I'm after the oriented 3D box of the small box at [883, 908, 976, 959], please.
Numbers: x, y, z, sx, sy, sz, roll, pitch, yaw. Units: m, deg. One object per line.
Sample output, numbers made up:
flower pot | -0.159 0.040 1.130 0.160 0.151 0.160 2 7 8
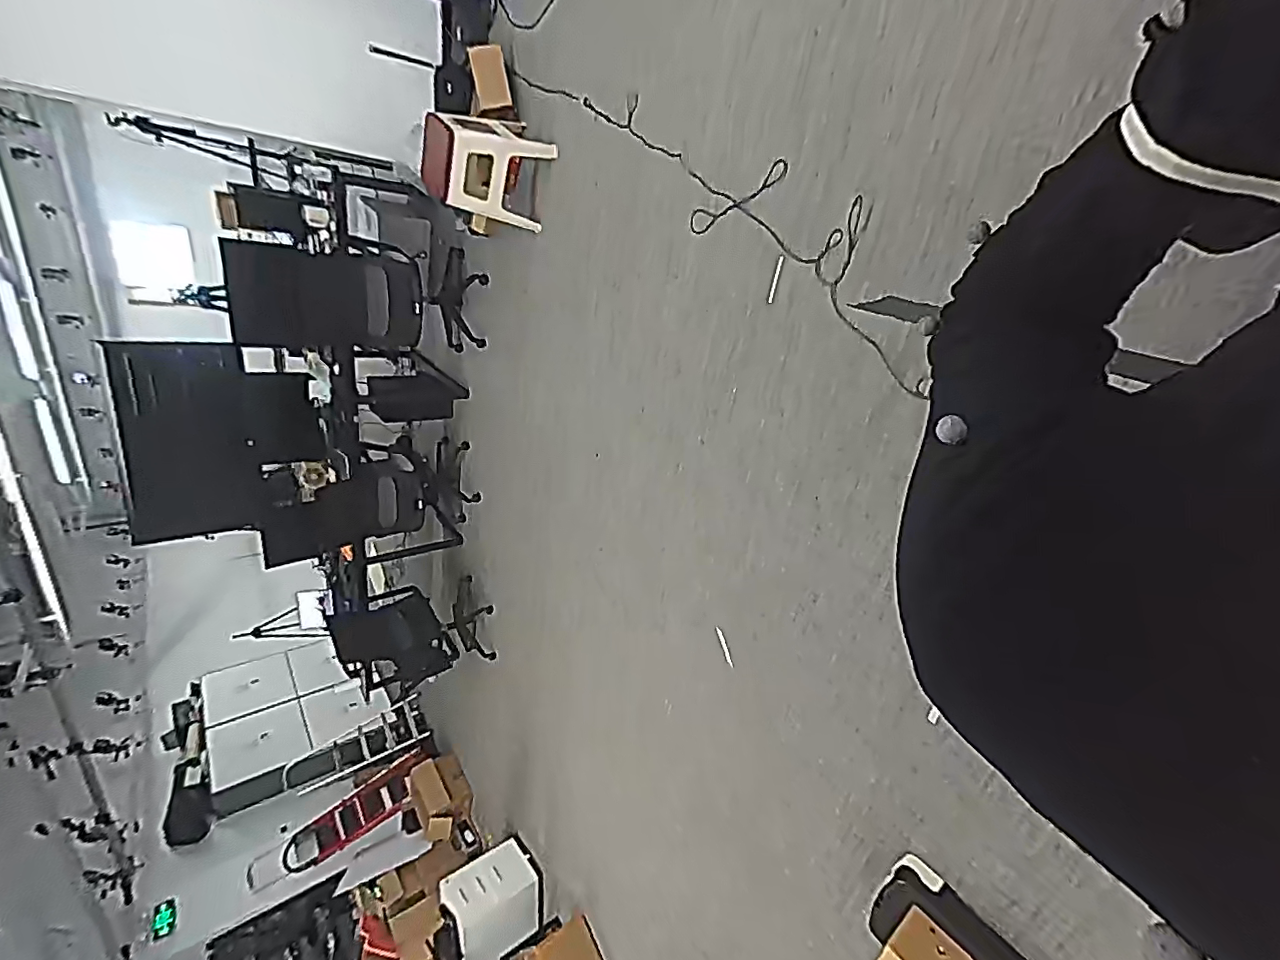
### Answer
small box | 0.749 1.293 1.417 0.168 0.176 0.179 32 122 43
